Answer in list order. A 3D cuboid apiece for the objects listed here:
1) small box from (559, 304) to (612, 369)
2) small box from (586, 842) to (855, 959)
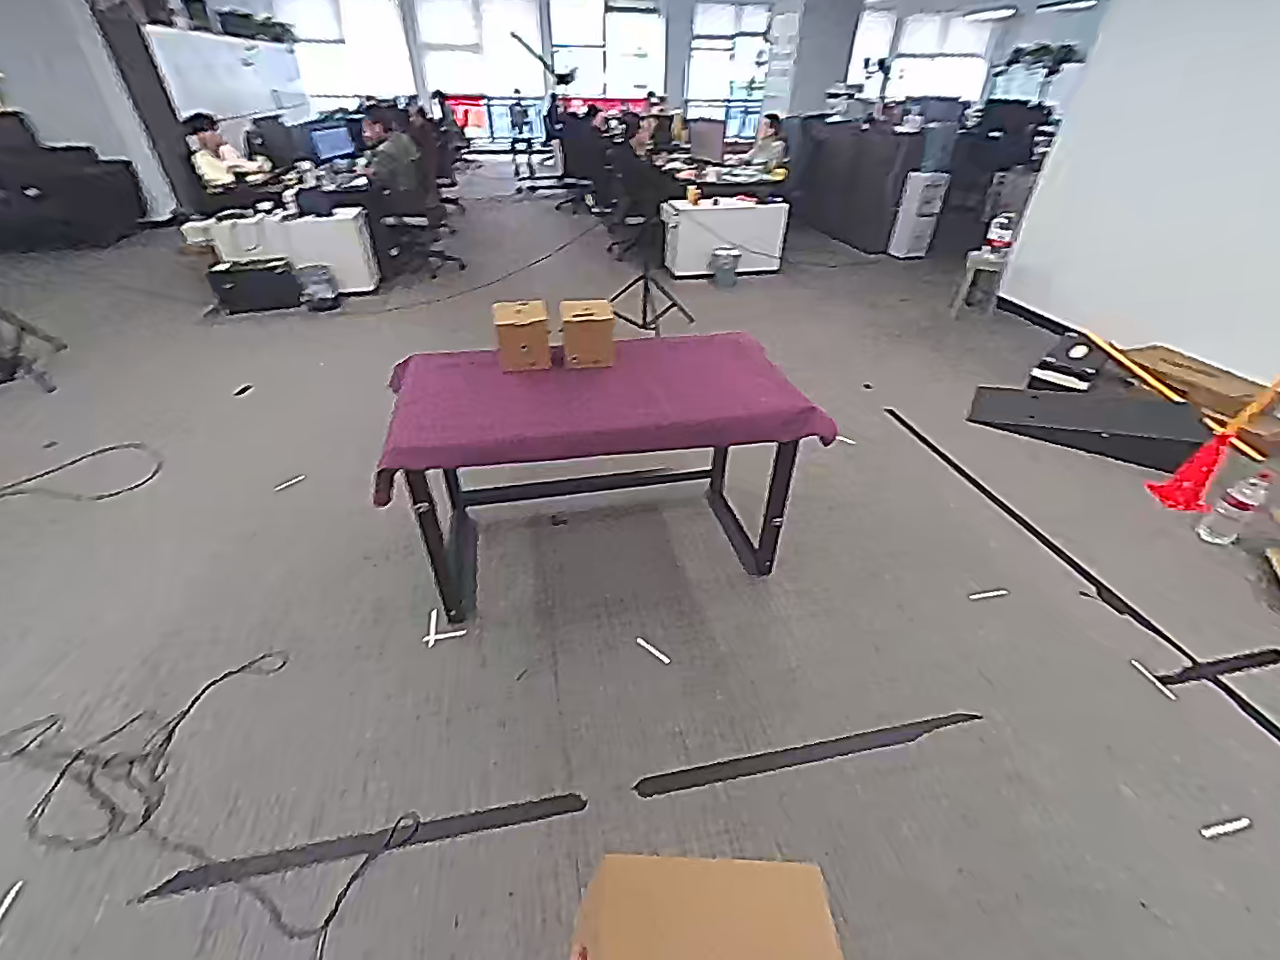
[{"bbox_3d":[-0.183,-0.483,1.833,0.168,0.176,0.179,-4,38,-7],"label":"small box"},{"bbox_3d":[0.049,0.392,0.381,0.168,0.176,0.179,9,37,-6],"label":"small box"}]
